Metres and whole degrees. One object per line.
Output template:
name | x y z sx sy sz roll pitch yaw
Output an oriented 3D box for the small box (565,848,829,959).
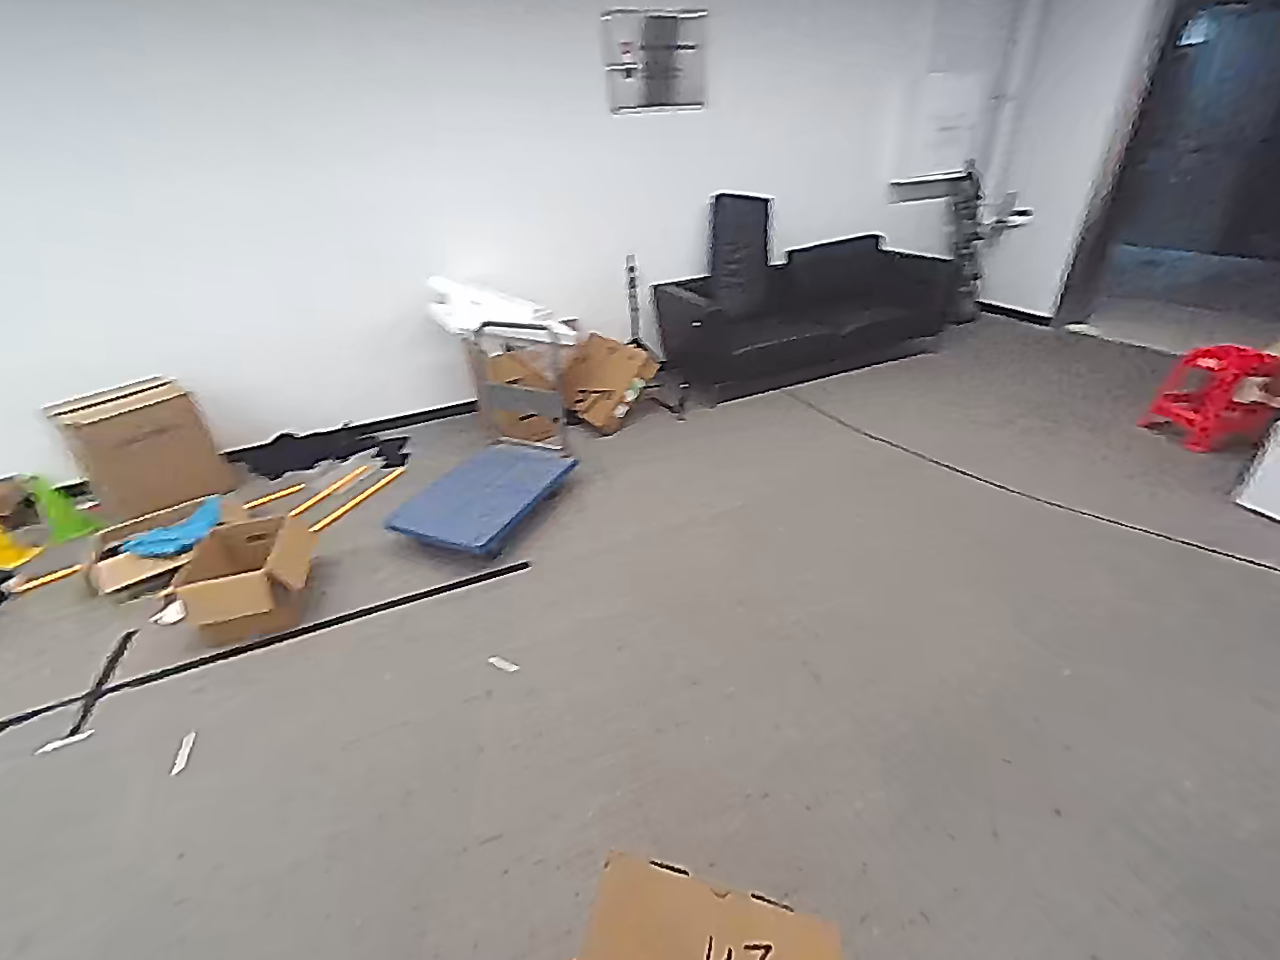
small box | 0.021 0.393 0.357 0.168 0.176 0.179 12 38 8
